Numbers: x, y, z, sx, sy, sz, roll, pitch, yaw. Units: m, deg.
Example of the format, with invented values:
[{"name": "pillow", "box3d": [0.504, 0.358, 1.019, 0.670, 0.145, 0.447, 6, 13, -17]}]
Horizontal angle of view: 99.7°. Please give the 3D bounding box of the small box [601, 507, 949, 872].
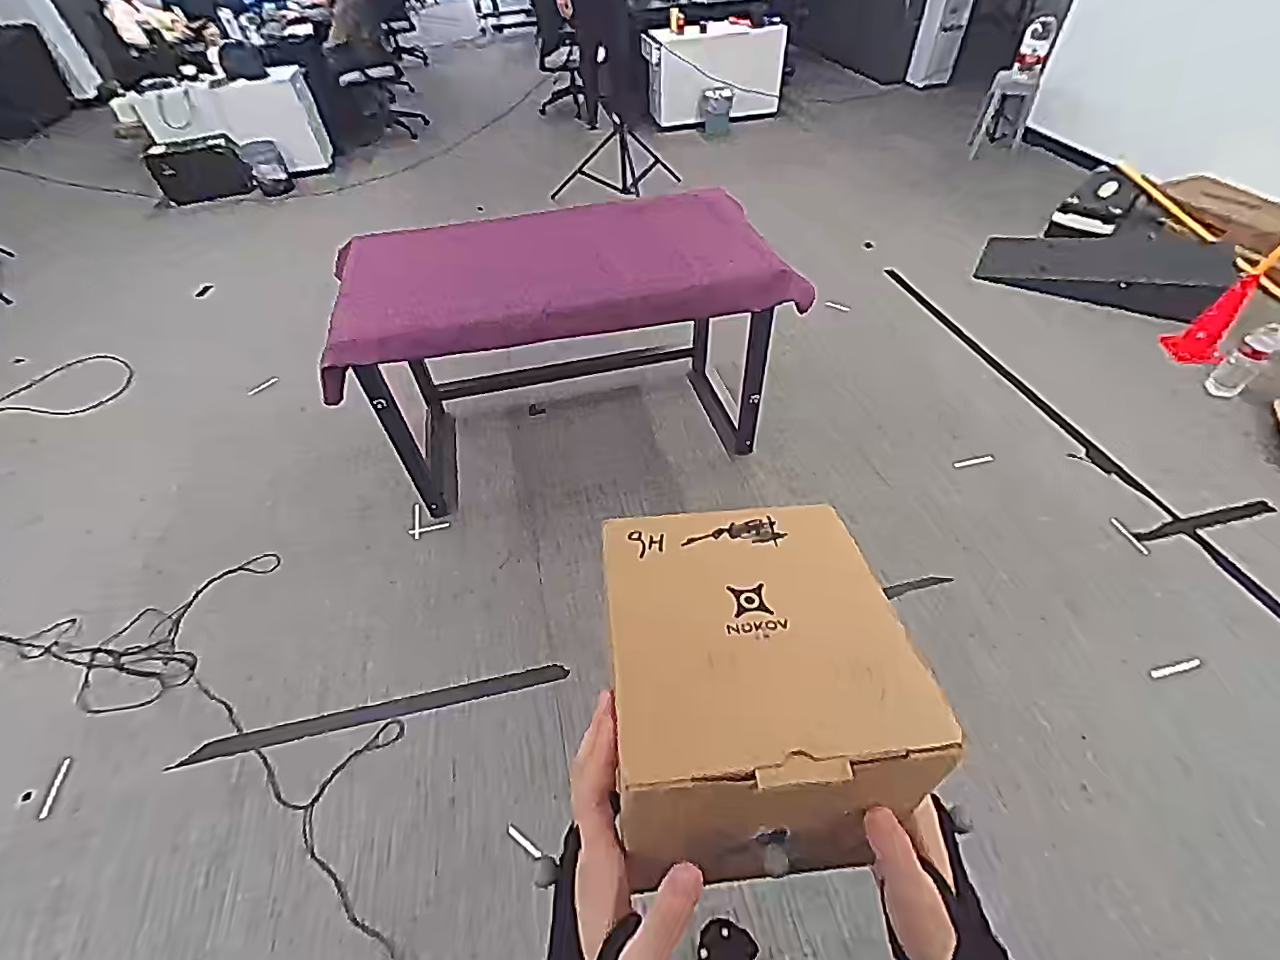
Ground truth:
[{"name": "small box", "box3d": [0.063, 0.142, 0.369, 0.168, 0.176, 0.179, -4, 41, -5]}]
